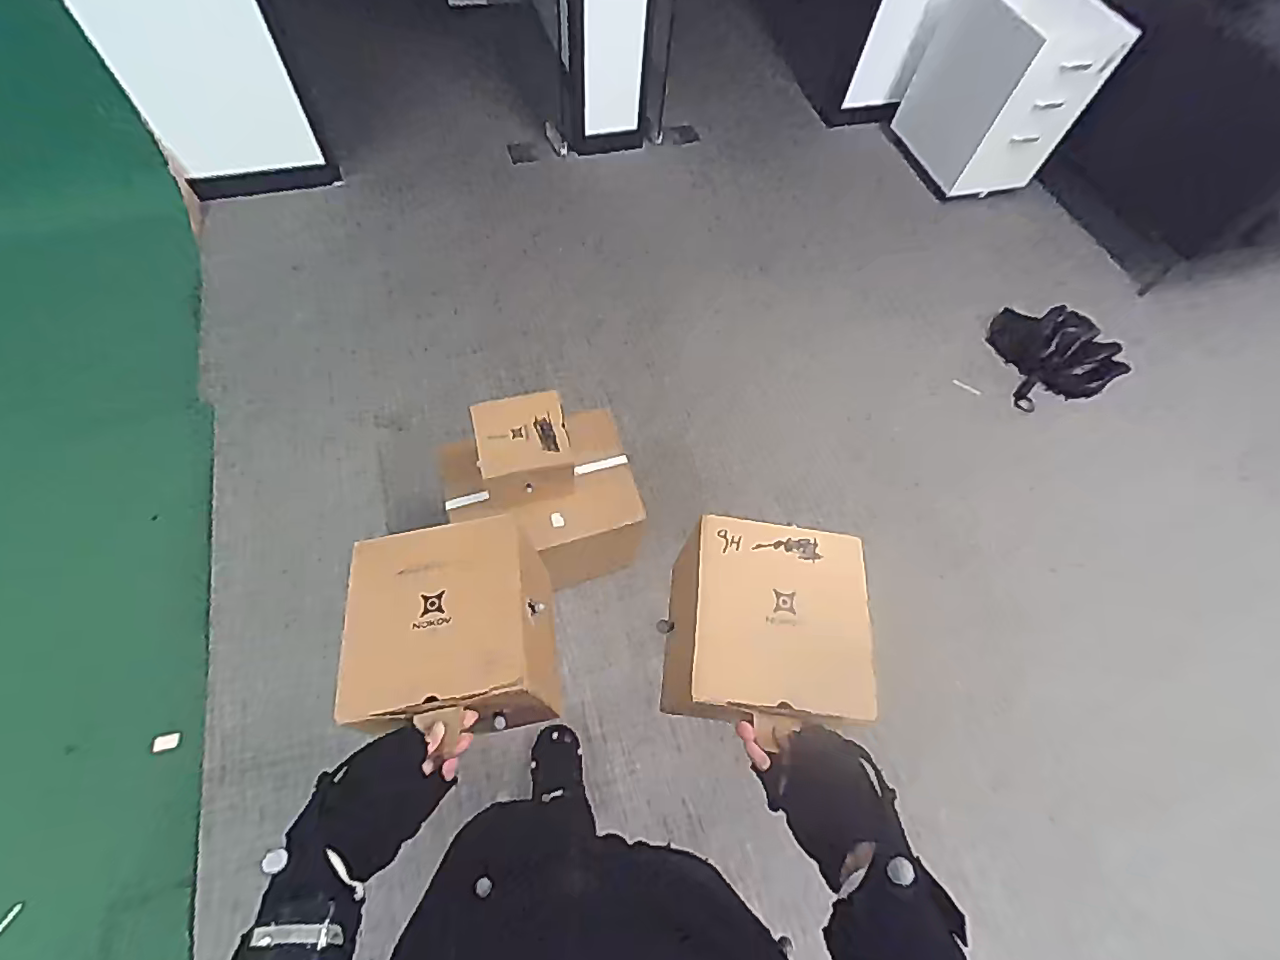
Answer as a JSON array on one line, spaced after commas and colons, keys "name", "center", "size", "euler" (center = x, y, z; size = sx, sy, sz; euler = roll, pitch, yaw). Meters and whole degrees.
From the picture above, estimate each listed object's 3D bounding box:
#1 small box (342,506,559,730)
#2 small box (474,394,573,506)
[{"name": "small box", "center": [-0.188, 0.156, 0.579], "size": [0.168, 0.176, 0.179], "euler": [-11, 57, -4]}, {"name": "small box", "center": [-0.238, -0.058, 1.122], "size": [0.179, 0.176, 0.168], "euler": [-8, 67, -11]}]
